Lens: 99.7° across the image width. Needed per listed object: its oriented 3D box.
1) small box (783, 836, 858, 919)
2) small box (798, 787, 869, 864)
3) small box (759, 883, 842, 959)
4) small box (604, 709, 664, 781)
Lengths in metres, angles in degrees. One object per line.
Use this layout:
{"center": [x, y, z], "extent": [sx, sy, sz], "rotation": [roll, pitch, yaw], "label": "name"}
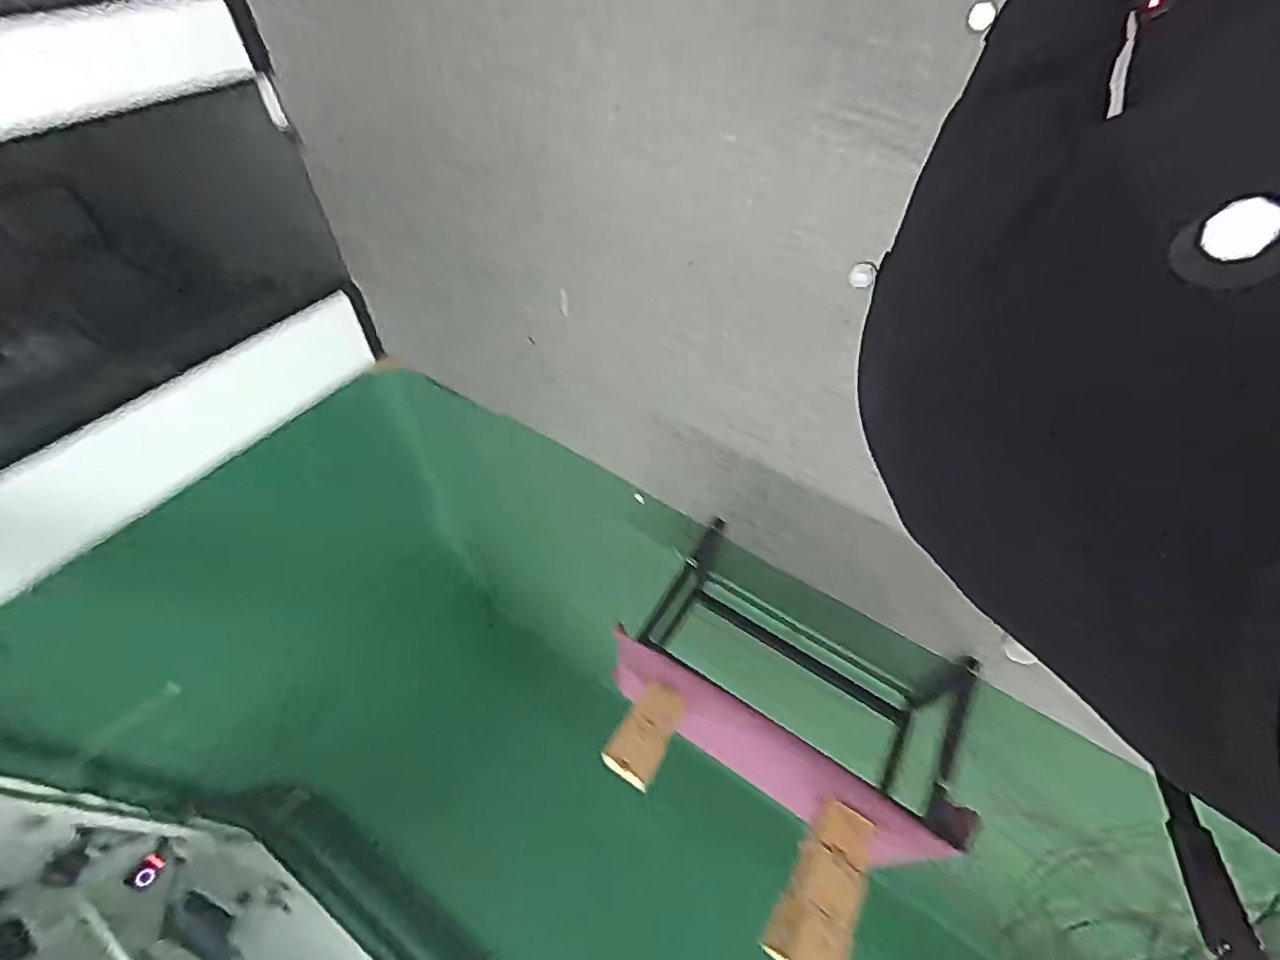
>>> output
{"center": [0.613, 1.338, 1.829], "extent": [0.168, 0.176, 0.179], "rotation": [31, 146, 15], "label": "small box"}
{"center": [0.694, 1.238, 1.933], "extent": [0.168, 0.176, 0.179], "rotation": [28, 144, 19], "label": "small box"}
{"center": [0.523, 1.444, 1.741], "extent": [0.168, 0.176, 0.179], "rotation": [41, 145, 1], "label": "small box"}
{"center": [-0.020, 1.006, 2.057], "extent": [0.168, 0.176, 0.179], "rotation": [27, 146, 19], "label": "small box"}
